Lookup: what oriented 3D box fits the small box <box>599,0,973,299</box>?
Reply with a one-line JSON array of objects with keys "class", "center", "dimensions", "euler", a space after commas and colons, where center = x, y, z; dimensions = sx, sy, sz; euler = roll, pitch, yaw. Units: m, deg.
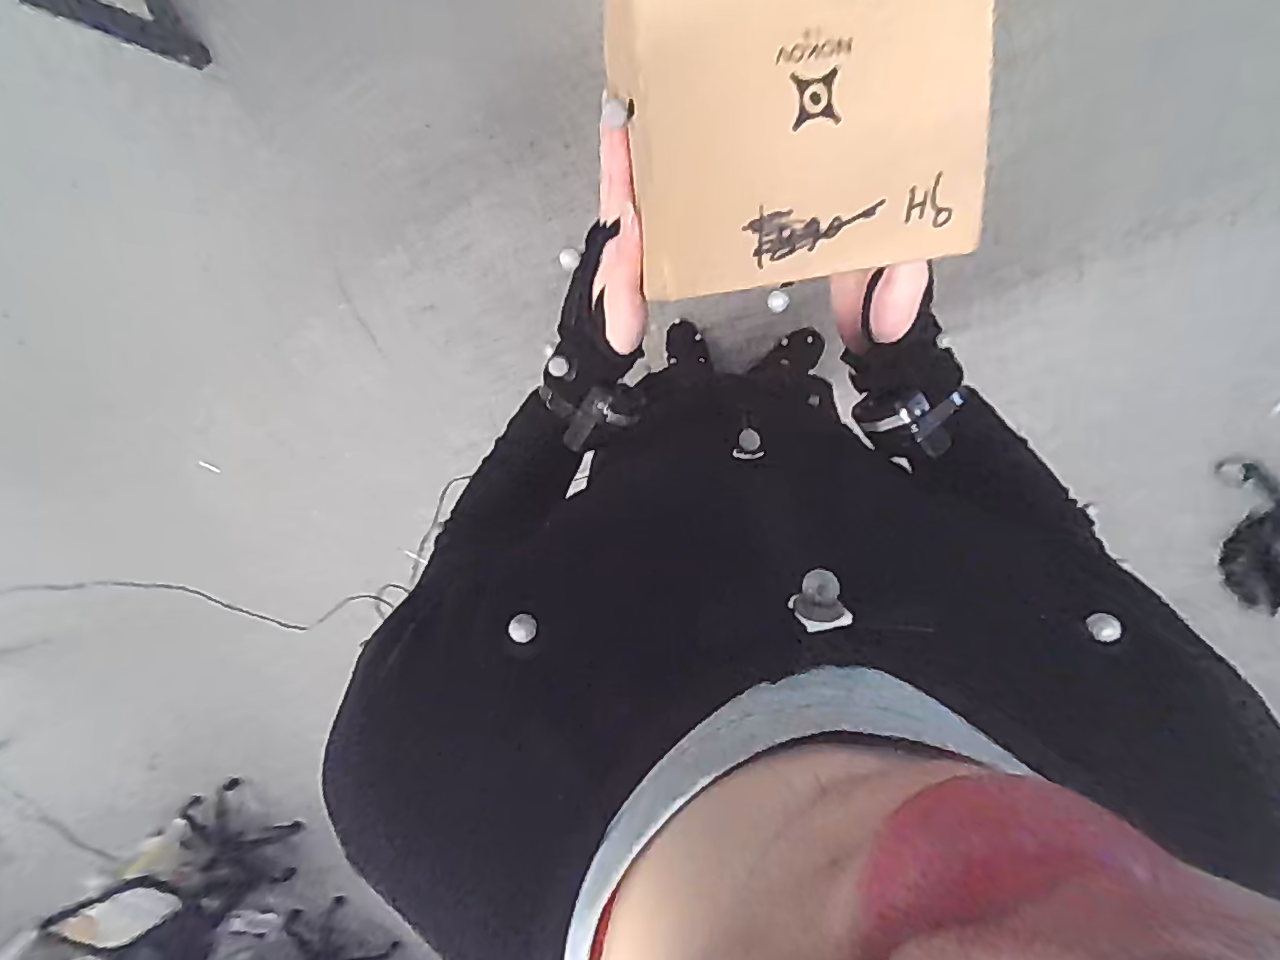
[{"class": "small box", "center": [0.068, -0.215, 0.327], "dimensions": [0.168, 0.176, 0.179], "euler": [-10, 107, 0]}]
